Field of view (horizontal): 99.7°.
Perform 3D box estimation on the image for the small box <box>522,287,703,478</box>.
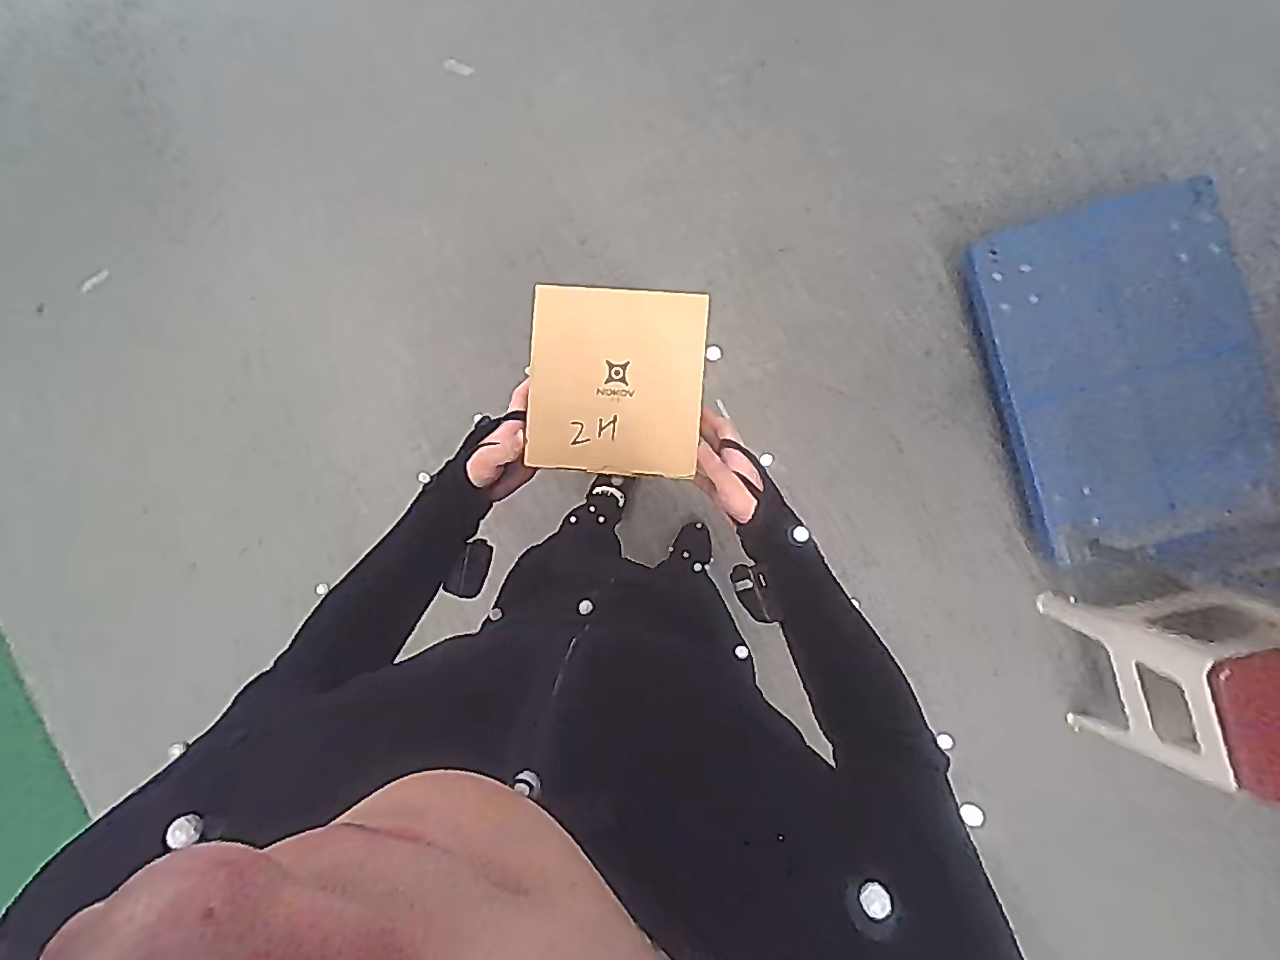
[{"bbox_3d":[-0.025,-0.096,0.600,0.168,0.176,0.179,4,93,3],"label":"small box"}]
